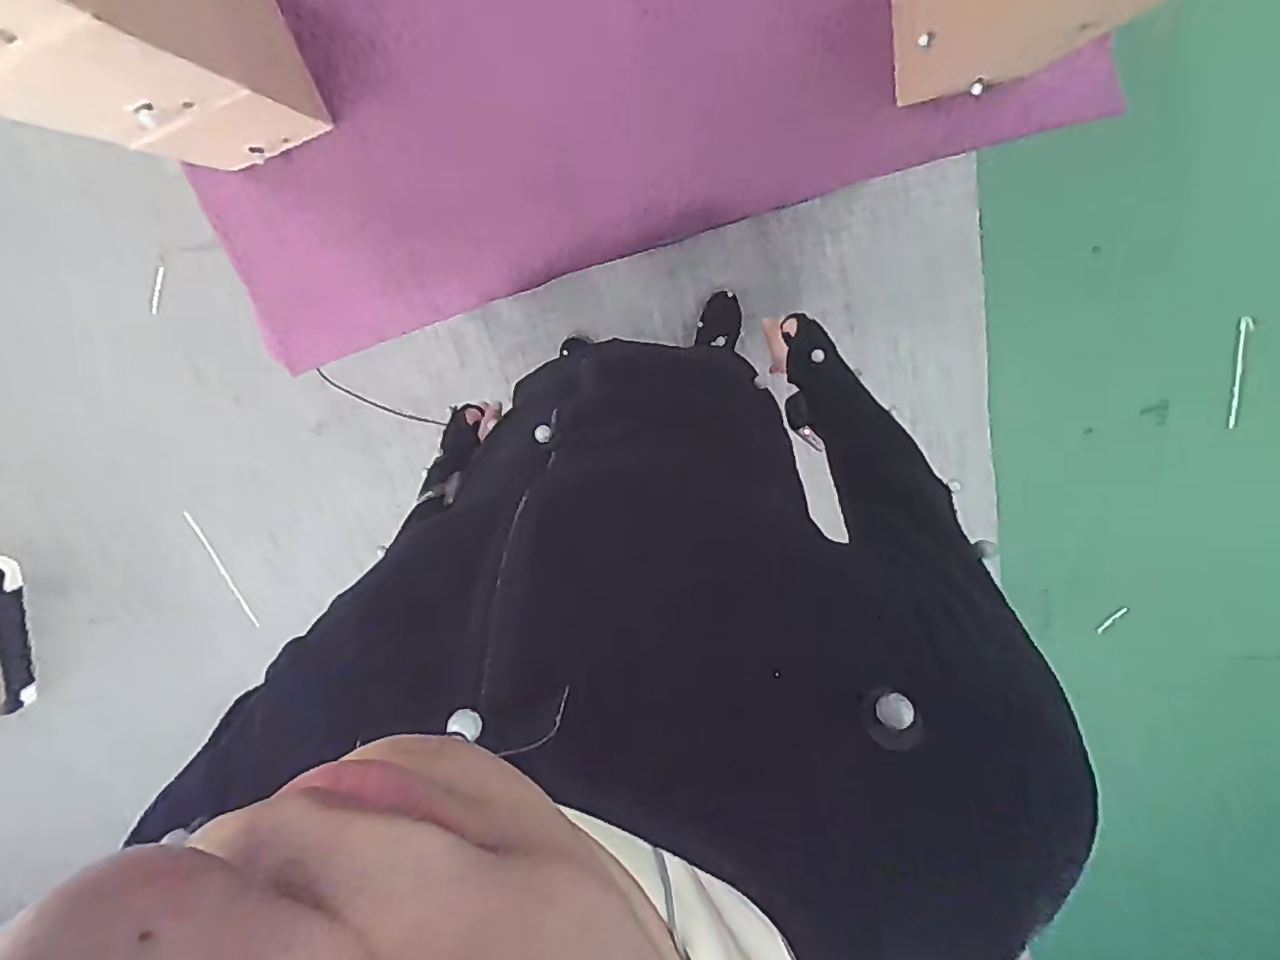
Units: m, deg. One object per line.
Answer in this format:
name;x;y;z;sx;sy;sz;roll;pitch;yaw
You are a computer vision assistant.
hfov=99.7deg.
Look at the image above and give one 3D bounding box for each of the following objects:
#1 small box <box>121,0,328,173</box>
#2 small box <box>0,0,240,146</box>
small box;-0.525;-0.499;0.646;0.168;0.176;0.179;-17;110;9
small box;-0.532;-0.442;0.493;0.168;0.176;0.179;-17;110;10
